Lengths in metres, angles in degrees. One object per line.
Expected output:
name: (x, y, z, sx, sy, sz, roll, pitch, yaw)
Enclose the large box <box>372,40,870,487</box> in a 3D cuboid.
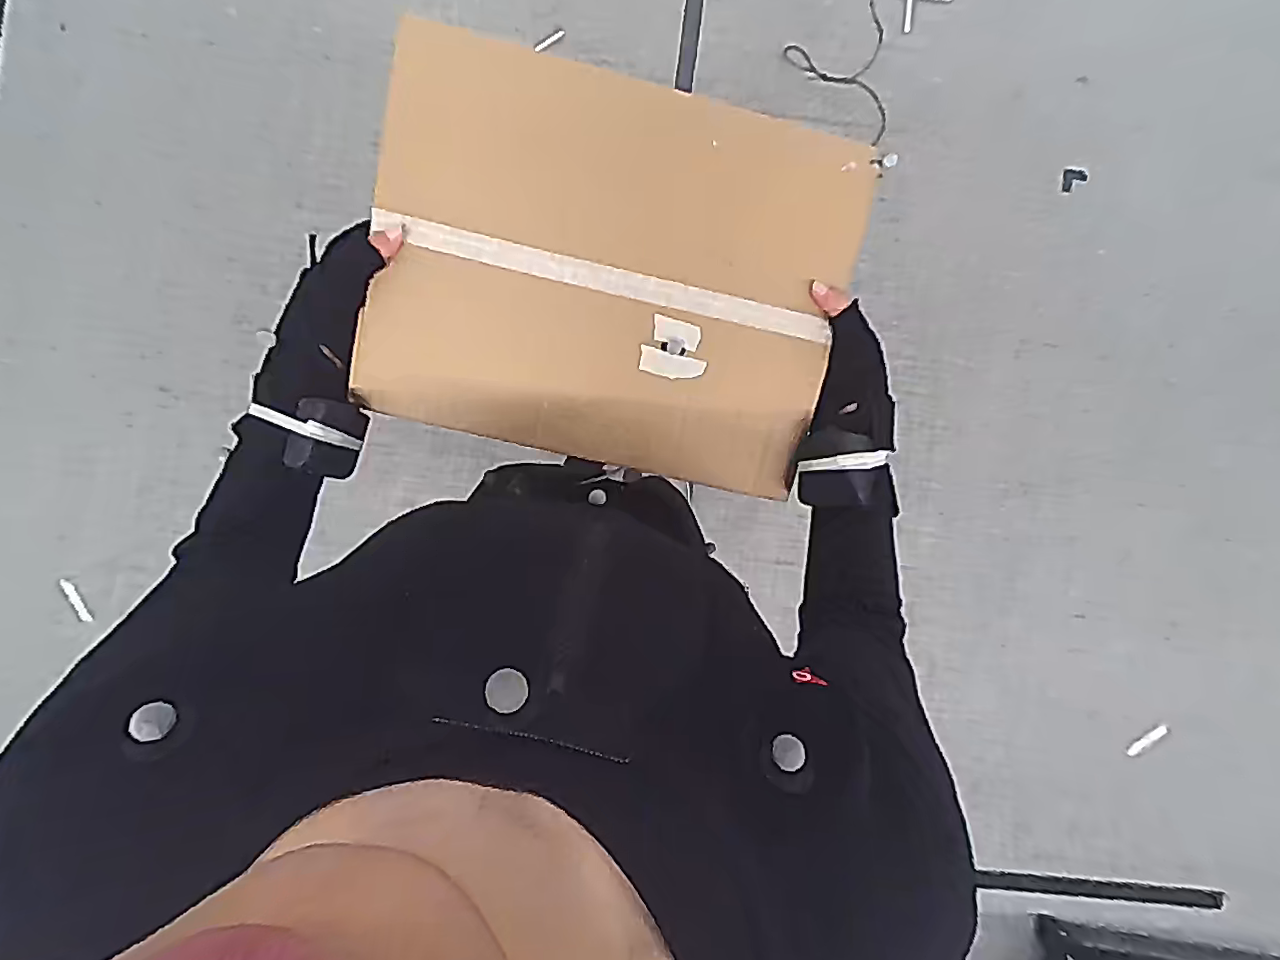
large box: (-0.030, -0.204, 0.631, 0.408, 0.320, 0.320, 13, 101, -5)
